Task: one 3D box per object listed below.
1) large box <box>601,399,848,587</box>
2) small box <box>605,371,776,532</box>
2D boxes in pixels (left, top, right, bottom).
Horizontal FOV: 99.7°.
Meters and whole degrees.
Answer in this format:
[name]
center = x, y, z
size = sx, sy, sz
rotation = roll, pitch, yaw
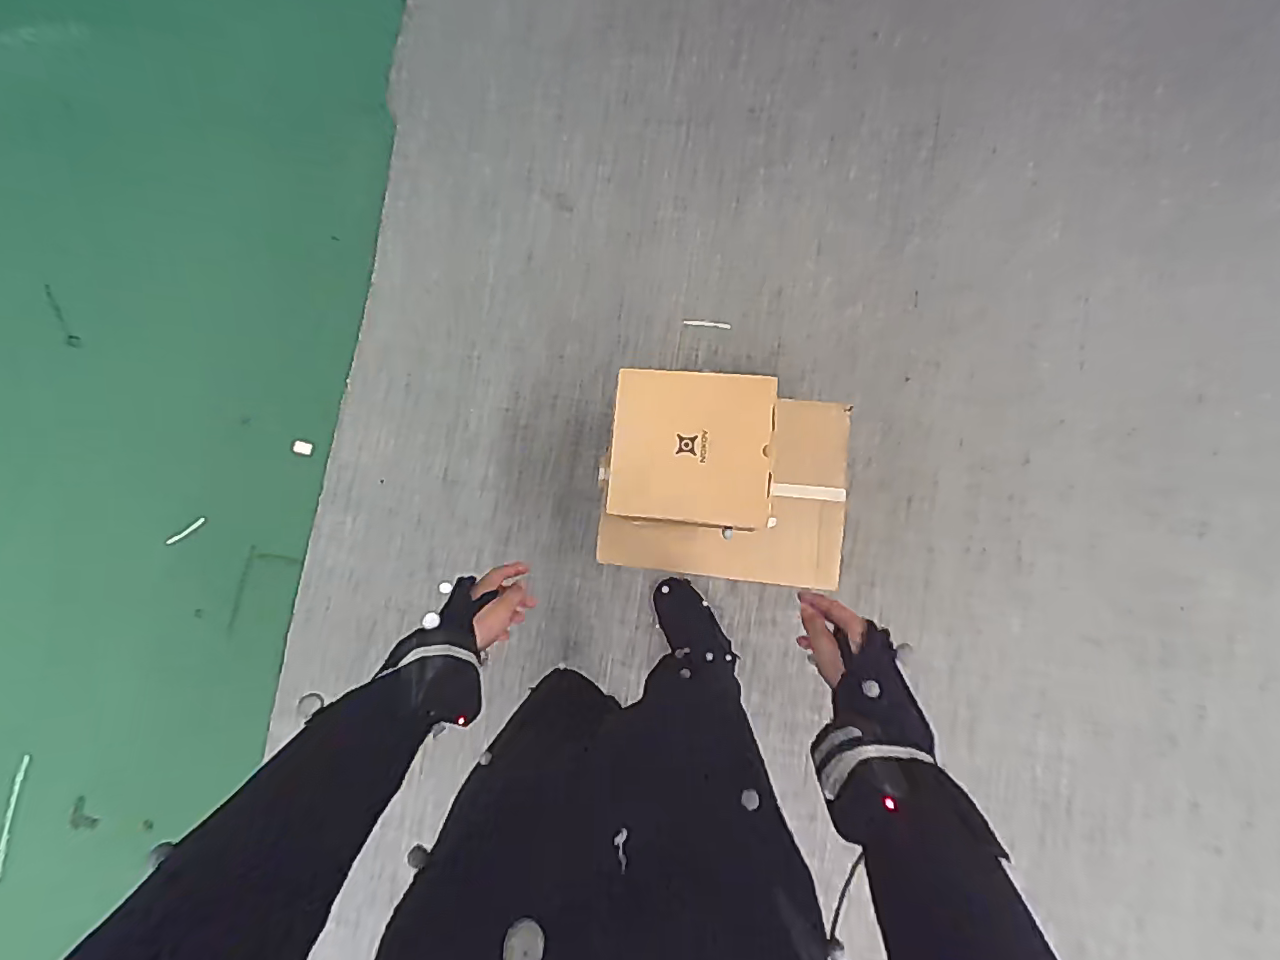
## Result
[large box]
center = 0.156, 0.025, 1.062
size = 0.408, 0.320, 0.320
rotation = 5, 85, 7
[small box]
center = 0.063, -0.026, 0.666
size = 0.179, 0.176, 0.168
rotation = 4, 84, 6
